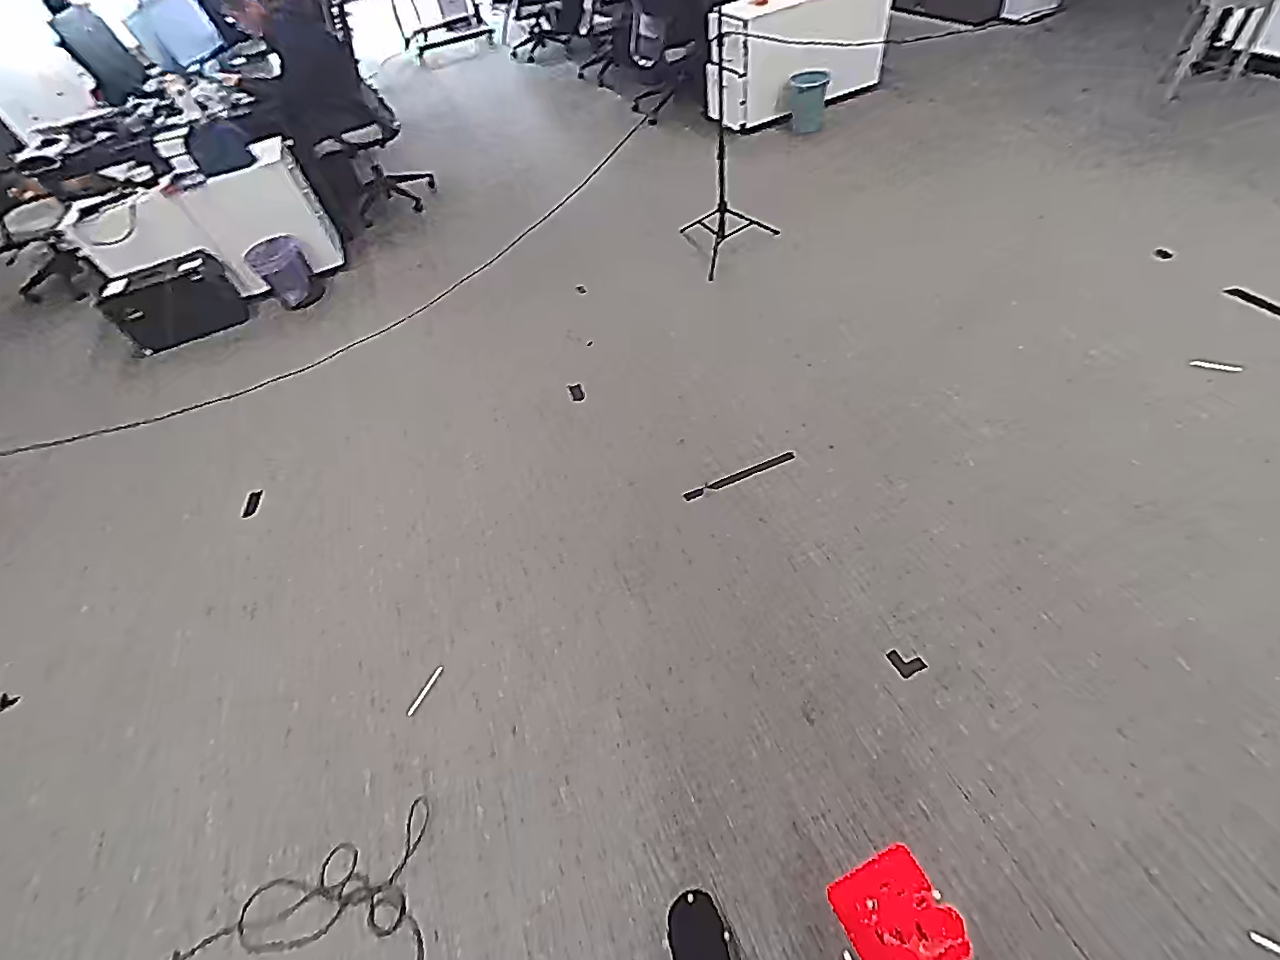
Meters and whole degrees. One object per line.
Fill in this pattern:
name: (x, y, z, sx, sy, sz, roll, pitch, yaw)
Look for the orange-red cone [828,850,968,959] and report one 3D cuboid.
orange-red cone: (0.474, 0.754, 0.916, 0.199, 0.360, 0.198, -22, 52, -10)
